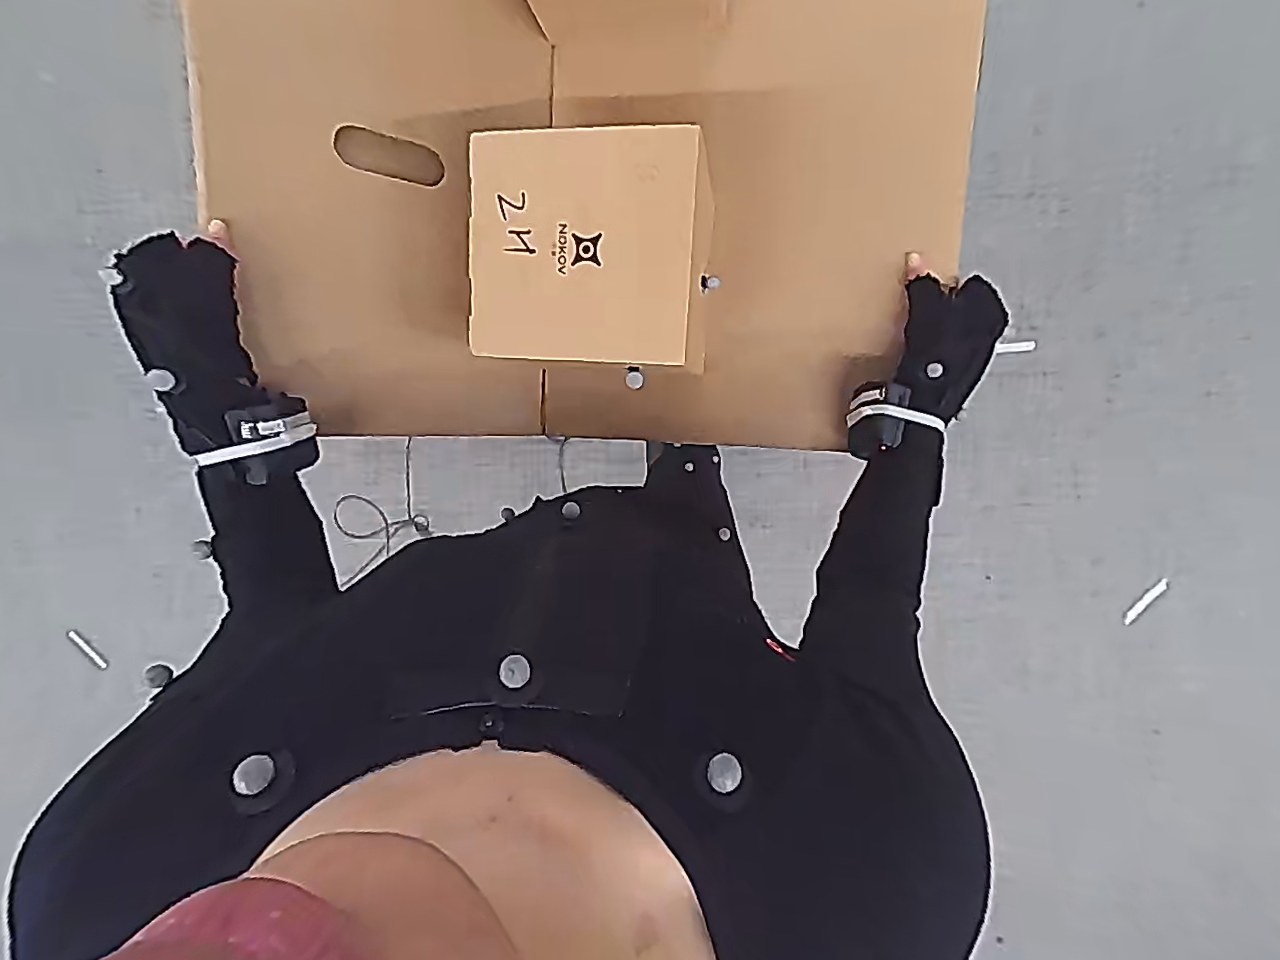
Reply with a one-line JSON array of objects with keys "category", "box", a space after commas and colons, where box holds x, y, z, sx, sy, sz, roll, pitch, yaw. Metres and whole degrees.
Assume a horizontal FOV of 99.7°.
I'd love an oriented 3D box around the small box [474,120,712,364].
[{"category": "small box", "box": [-0.030, -0.196, 0.489, 0.179, 0.176, 0.168, 6, 99, 11]}]
